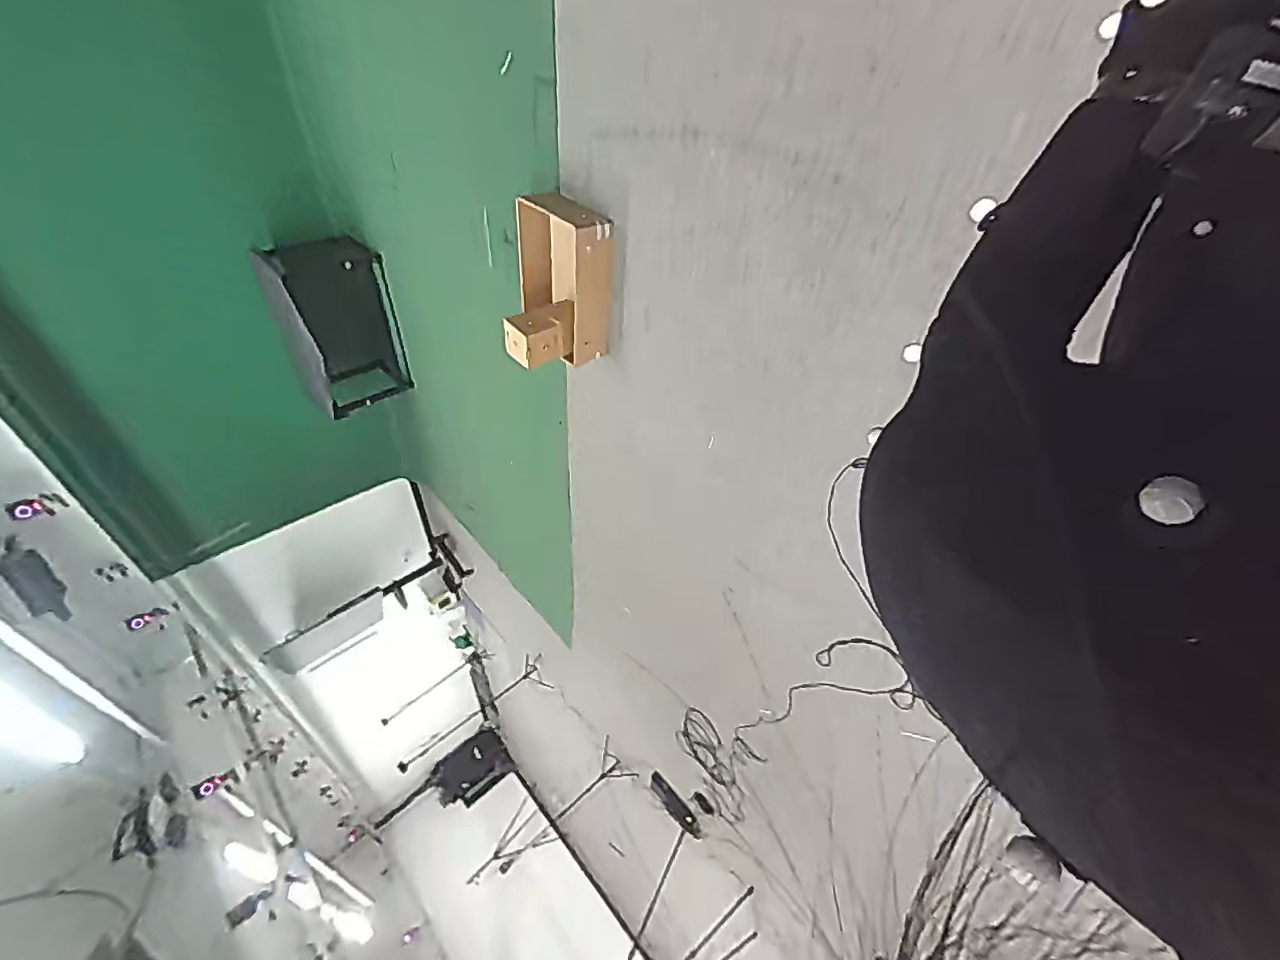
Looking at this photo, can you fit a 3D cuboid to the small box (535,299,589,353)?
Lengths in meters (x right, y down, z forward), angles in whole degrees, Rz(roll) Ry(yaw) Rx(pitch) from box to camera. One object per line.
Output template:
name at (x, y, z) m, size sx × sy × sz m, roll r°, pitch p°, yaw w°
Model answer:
small box at (-0.346, -0.699, 2.426) m, size 0.179 × 0.176 × 0.168 m, roll 35°, pitch 141°, yaw 31°

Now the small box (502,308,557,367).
small box at (-0.473, -0.626, 2.351) m, size 0.179 × 0.176 × 0.168 m, roll 39°, pitch 143°, yaw 27°
